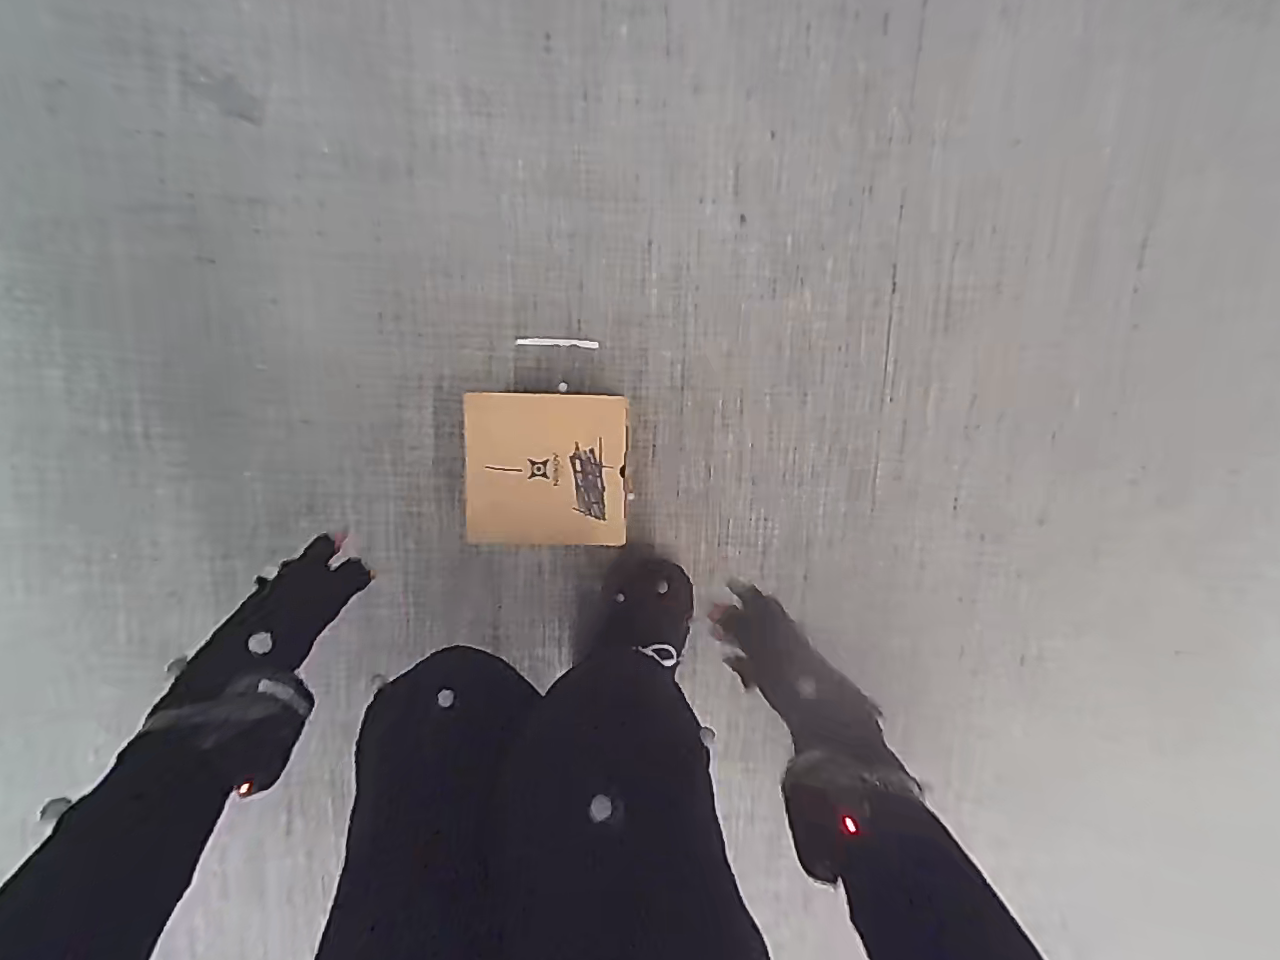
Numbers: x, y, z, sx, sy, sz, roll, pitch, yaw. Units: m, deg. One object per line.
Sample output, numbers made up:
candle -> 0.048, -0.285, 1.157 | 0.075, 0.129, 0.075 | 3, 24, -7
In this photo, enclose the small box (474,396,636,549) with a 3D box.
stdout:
small box -> -0.097, -0.018, 0.671 | 0.179, 0.176, 0.168 | 2, 98, -1
